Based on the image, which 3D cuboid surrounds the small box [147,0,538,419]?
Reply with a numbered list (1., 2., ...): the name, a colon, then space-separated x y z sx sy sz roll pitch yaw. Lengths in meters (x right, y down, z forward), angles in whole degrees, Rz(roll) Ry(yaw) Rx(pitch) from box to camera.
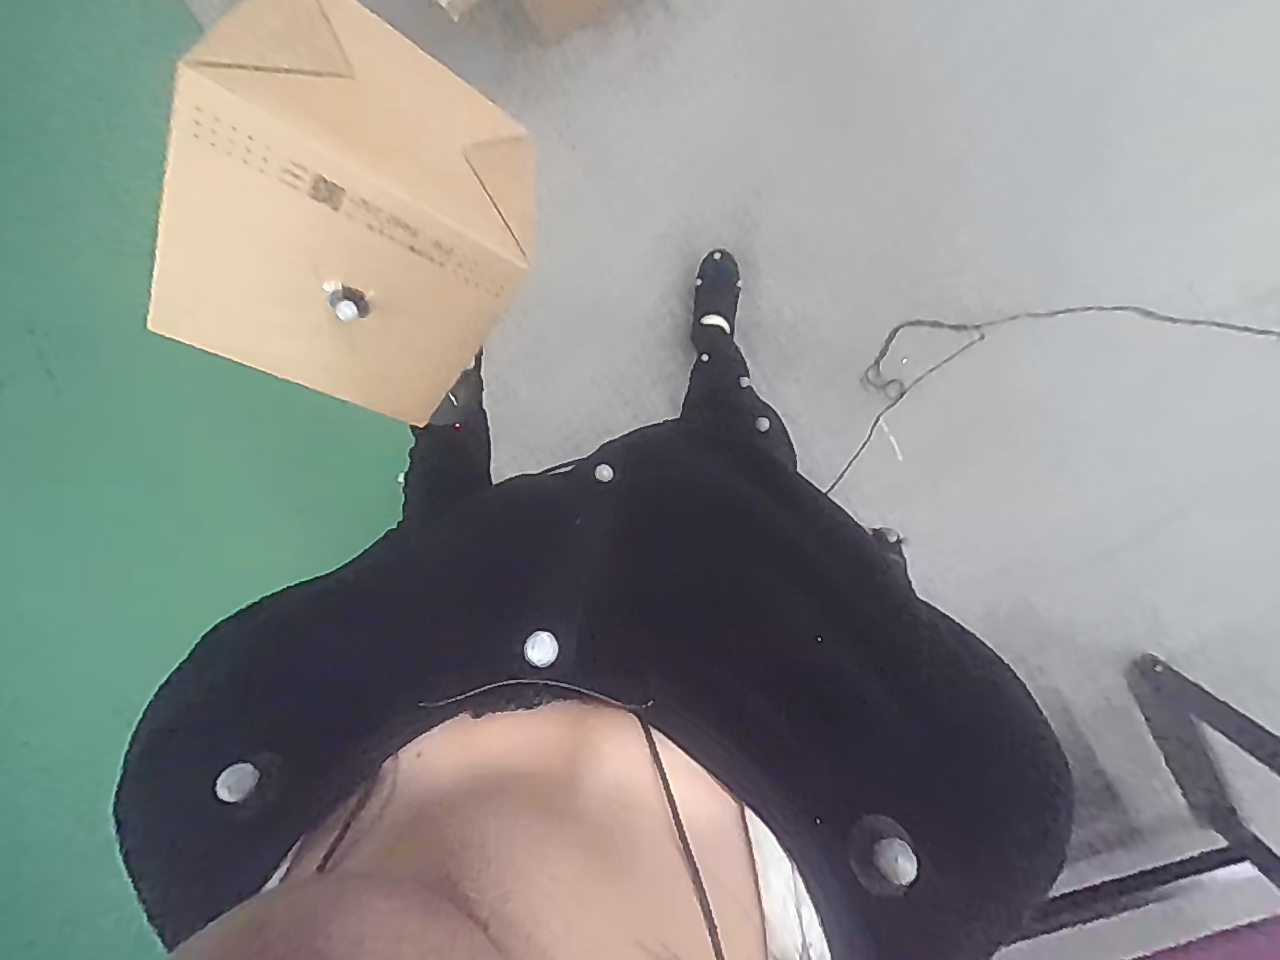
1. small box: -0.180 -0.177 0.354 0.168 0.179 0.176 23 136 -36
